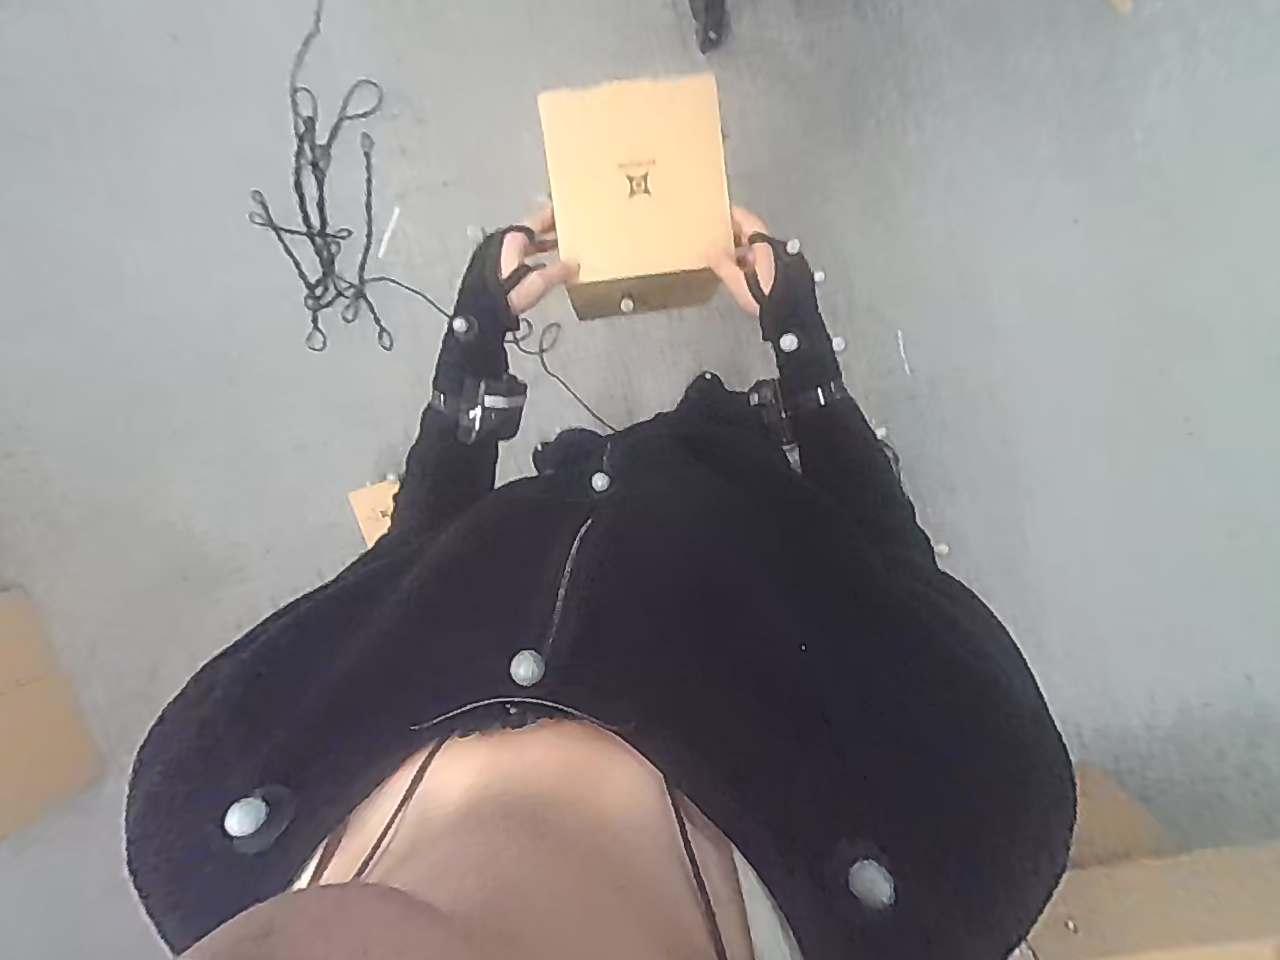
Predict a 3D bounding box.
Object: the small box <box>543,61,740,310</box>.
[{"bbox_3d":[0.002,-0.286,0.569,0.168,0.176,0.179,-7,94,-1],"label":"small box"}]
